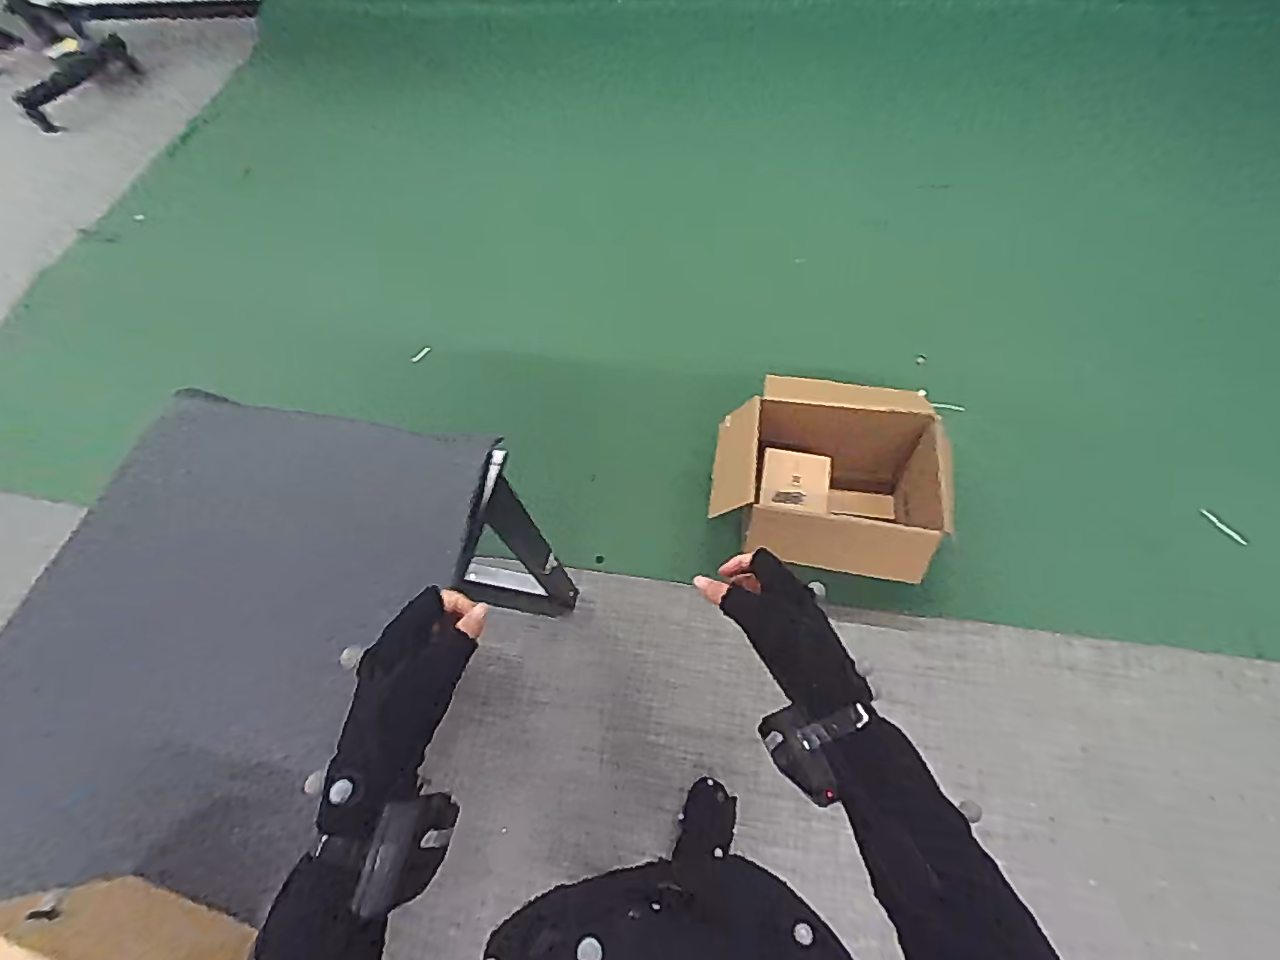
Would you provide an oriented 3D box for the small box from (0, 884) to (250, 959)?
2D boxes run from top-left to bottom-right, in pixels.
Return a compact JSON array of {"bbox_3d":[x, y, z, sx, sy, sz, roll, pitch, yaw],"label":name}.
[{"bbox_3d":[-0.508,0.483,0.472,0.179,0.176,0.168,11,64,11],"label":"small box"}]
